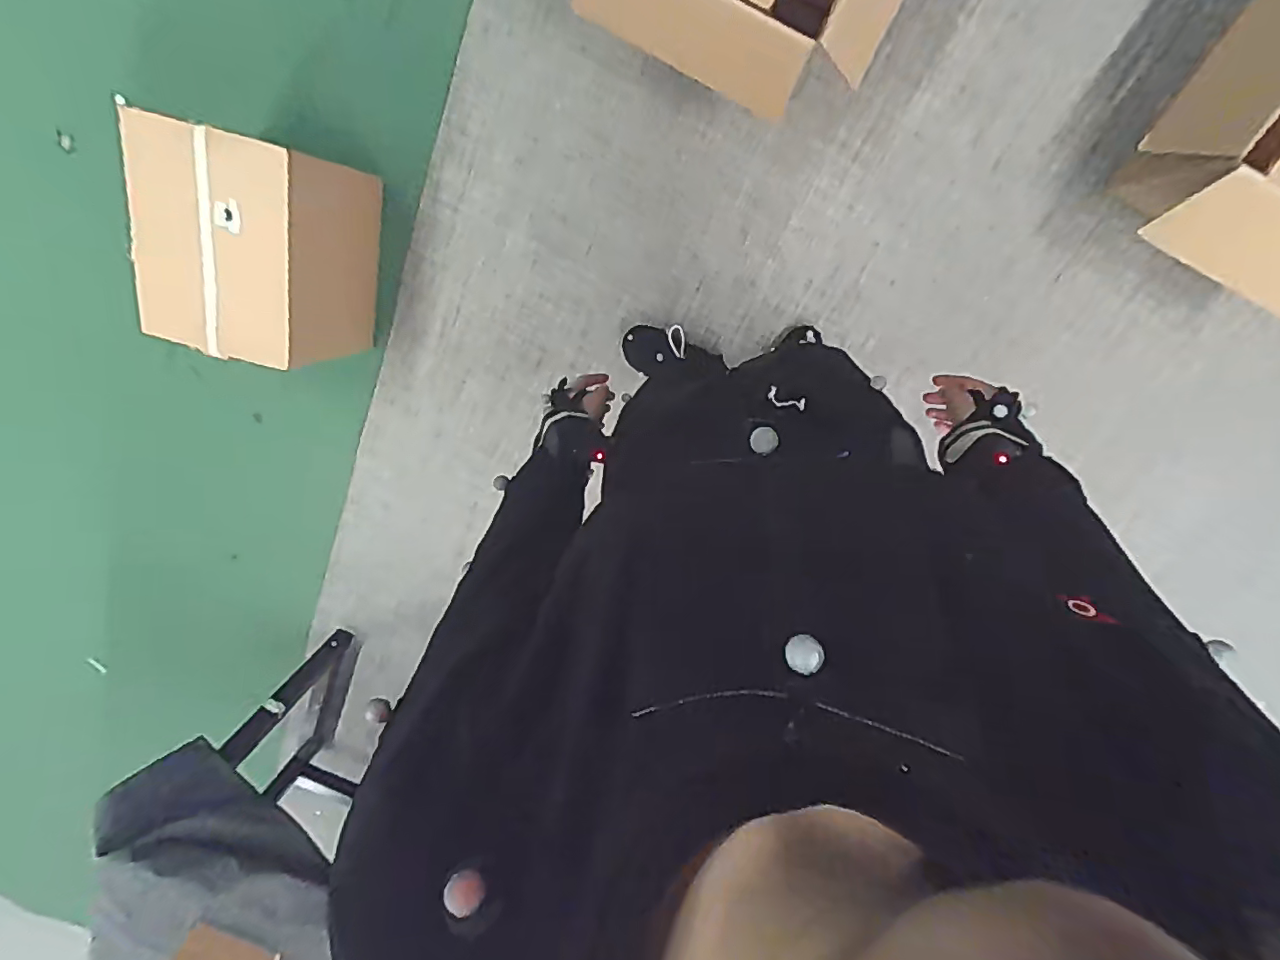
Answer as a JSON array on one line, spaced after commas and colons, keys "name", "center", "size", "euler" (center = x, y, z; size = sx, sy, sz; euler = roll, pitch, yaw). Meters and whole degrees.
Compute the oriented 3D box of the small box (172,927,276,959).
[{"name": "small box", "center": [-0.842, 1.009, 1.033], "size": [0.179, 0.176, 0.168], "euler": [27, 112, -4]}]
